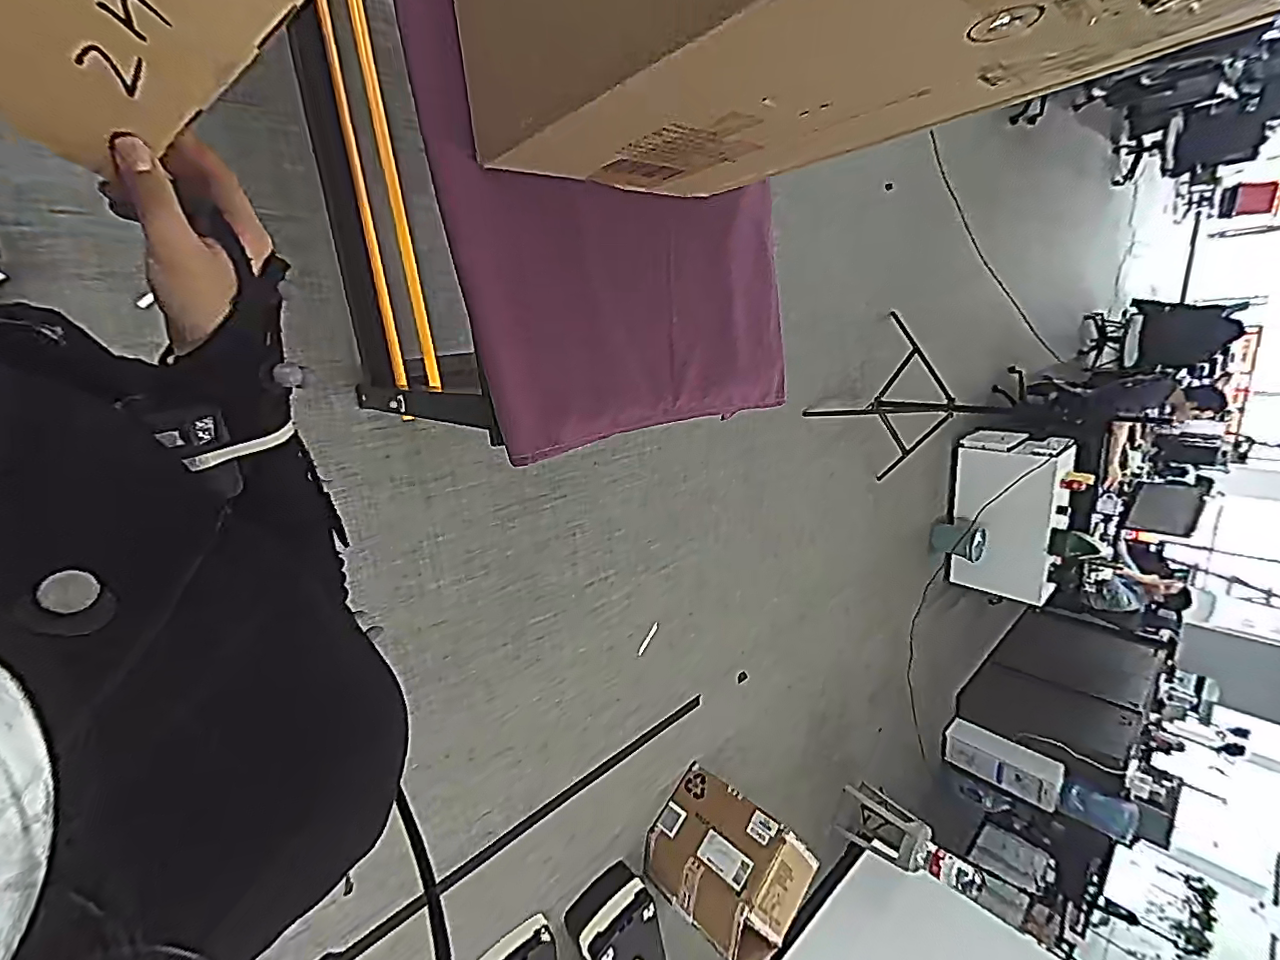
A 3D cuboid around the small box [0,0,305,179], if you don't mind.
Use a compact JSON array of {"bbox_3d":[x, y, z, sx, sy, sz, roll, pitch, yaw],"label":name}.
[{"bbox_3d":[-0.282,-0.281,0.217,0.168,0.176,0.179,-38,166,6],"label":"small box"}]
